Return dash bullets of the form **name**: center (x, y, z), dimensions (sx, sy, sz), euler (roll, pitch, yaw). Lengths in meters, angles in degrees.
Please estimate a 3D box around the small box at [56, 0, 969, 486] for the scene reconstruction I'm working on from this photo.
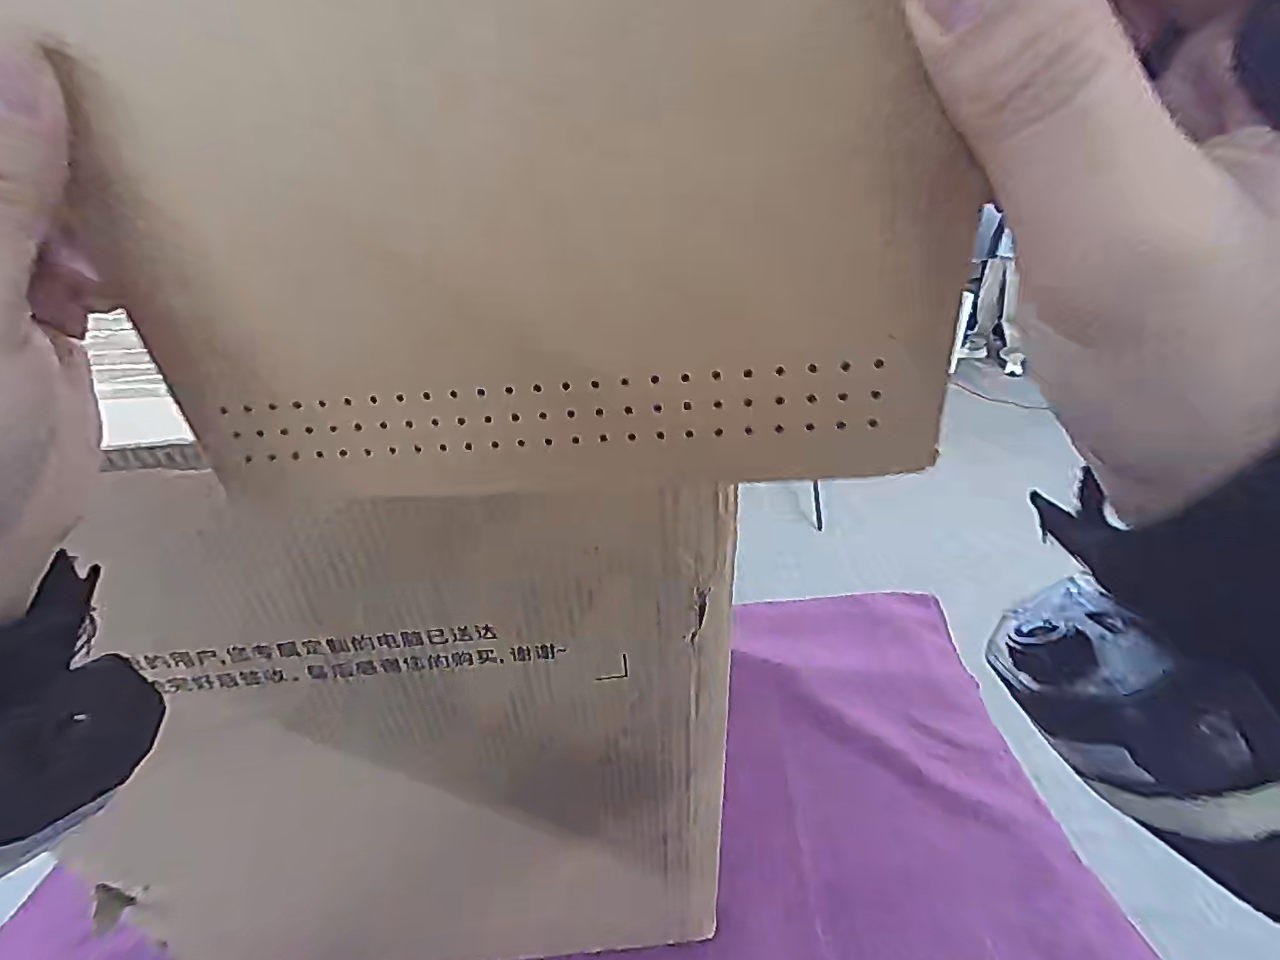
- **small box**: center (-0.020, -0.107, 0.164), dimensions (0.179, 0.176, 0.168), euler (-3, 30, 8)
